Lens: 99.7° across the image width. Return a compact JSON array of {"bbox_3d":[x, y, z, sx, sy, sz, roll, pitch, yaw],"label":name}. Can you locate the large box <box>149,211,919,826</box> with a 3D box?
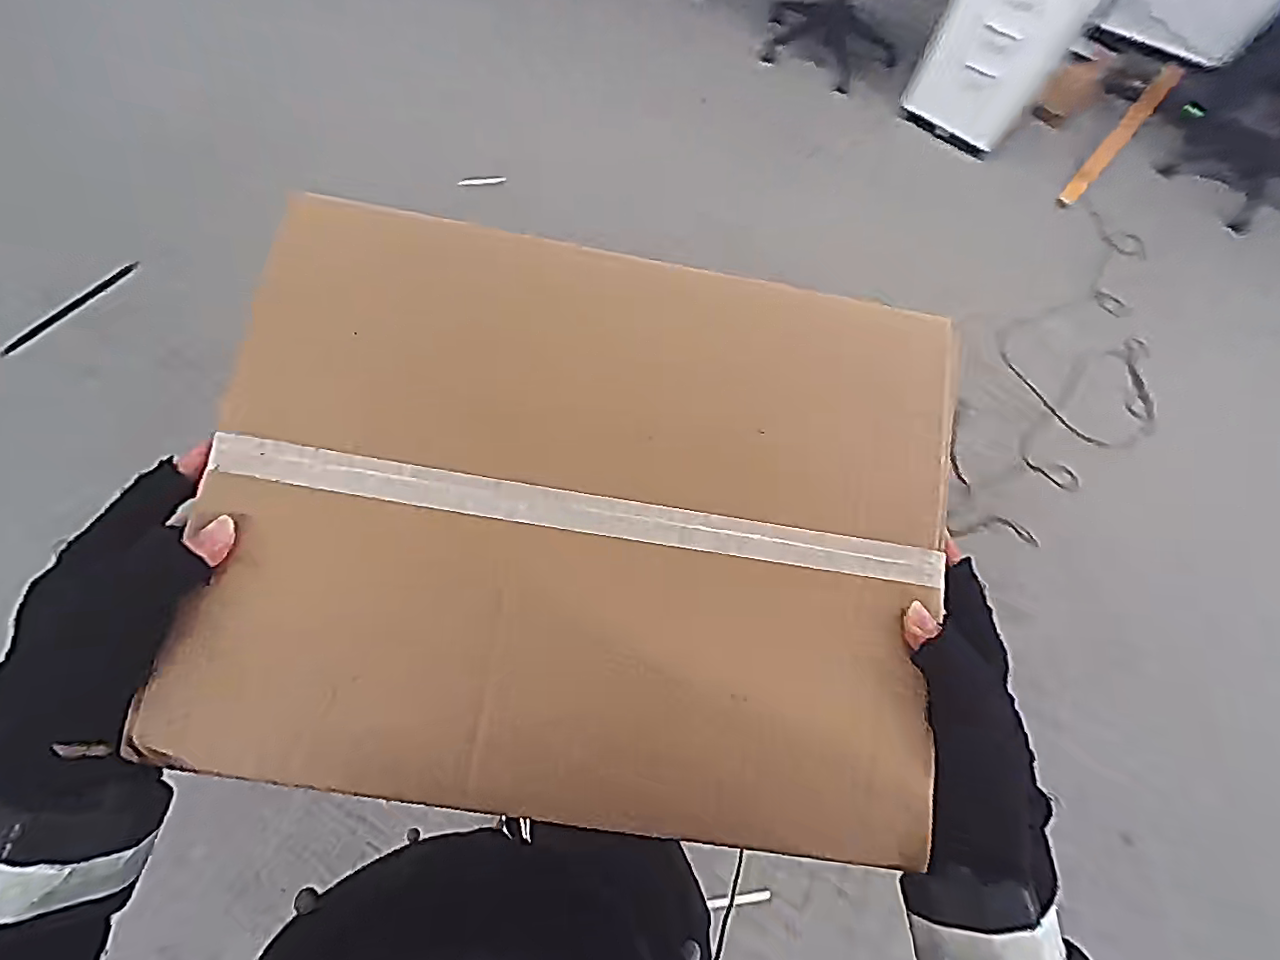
[{"bbox_3d":[-0.047,0.038,0.458,0.408,0.320,0.320,10,79,-4],"label":"large box"}]
